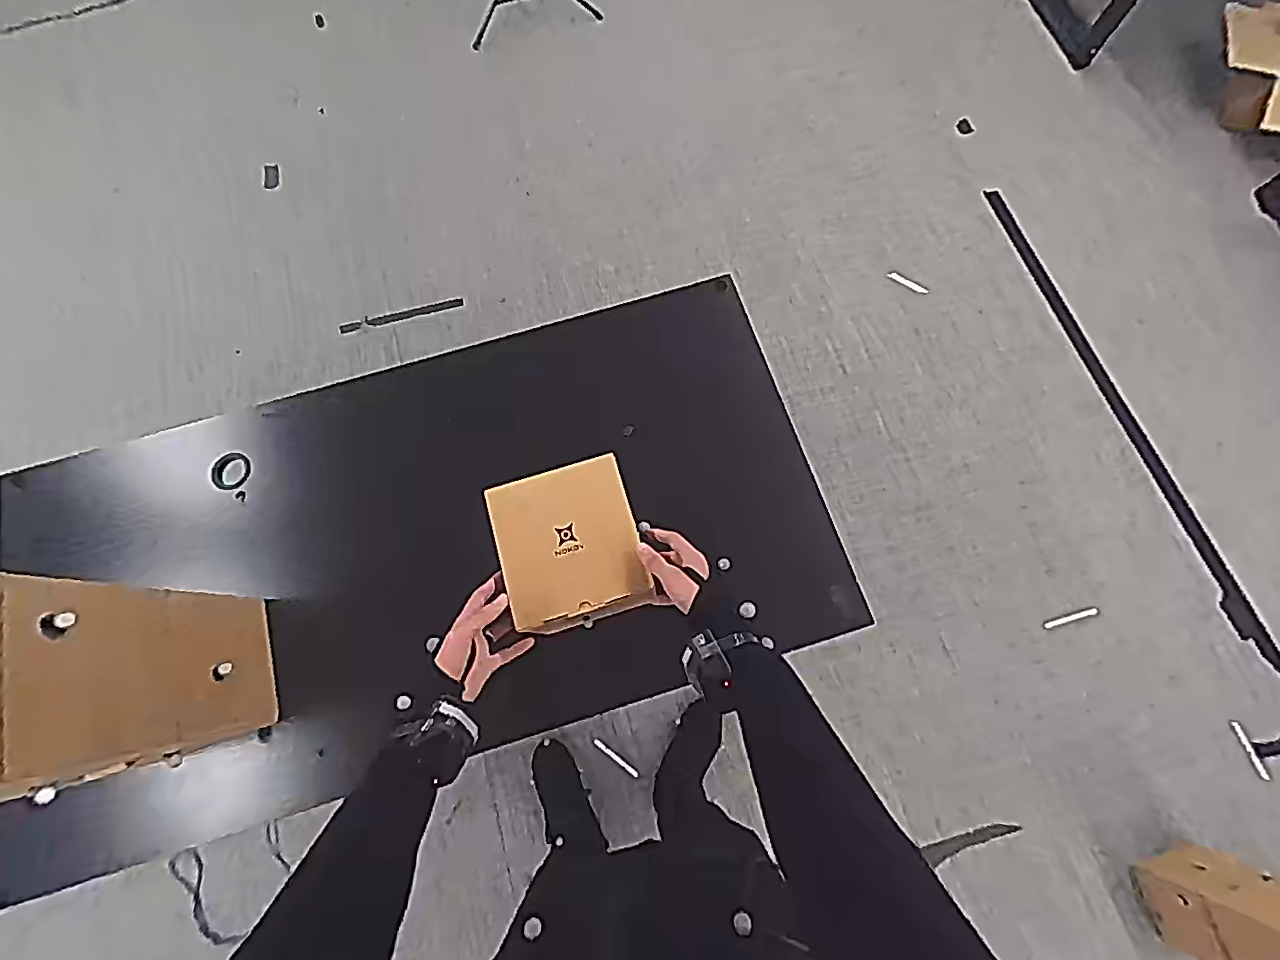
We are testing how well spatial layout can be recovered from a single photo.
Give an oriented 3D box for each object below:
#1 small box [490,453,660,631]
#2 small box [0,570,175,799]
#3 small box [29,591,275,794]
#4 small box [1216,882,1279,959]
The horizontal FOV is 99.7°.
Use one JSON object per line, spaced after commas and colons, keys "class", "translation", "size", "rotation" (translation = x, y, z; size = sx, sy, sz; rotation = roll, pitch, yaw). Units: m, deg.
{"class": "small box", "translation": [-0.079, 0.090, 0.708], "size": [0.168, 0.176, 0.179], "rotation": [-17, 74, -4]}
{"class": "small box", "translation": [-0.594, 0.201, 0.513], "size": [0.168, 0.176, 0.179], "rotation": [-18, 74, -3]}
{"class": "small box", "translation": [-0.591, 0.249, 0.671], "size": [0.168, 0.176, 0.179], "rotation": [-18, 75, -4]}
{"class": "small box", "translation": [1.280, 0.905, 1.026], "size": [0.168, 0.176, 0.179], "rotation": [-16, 76, -4]}
